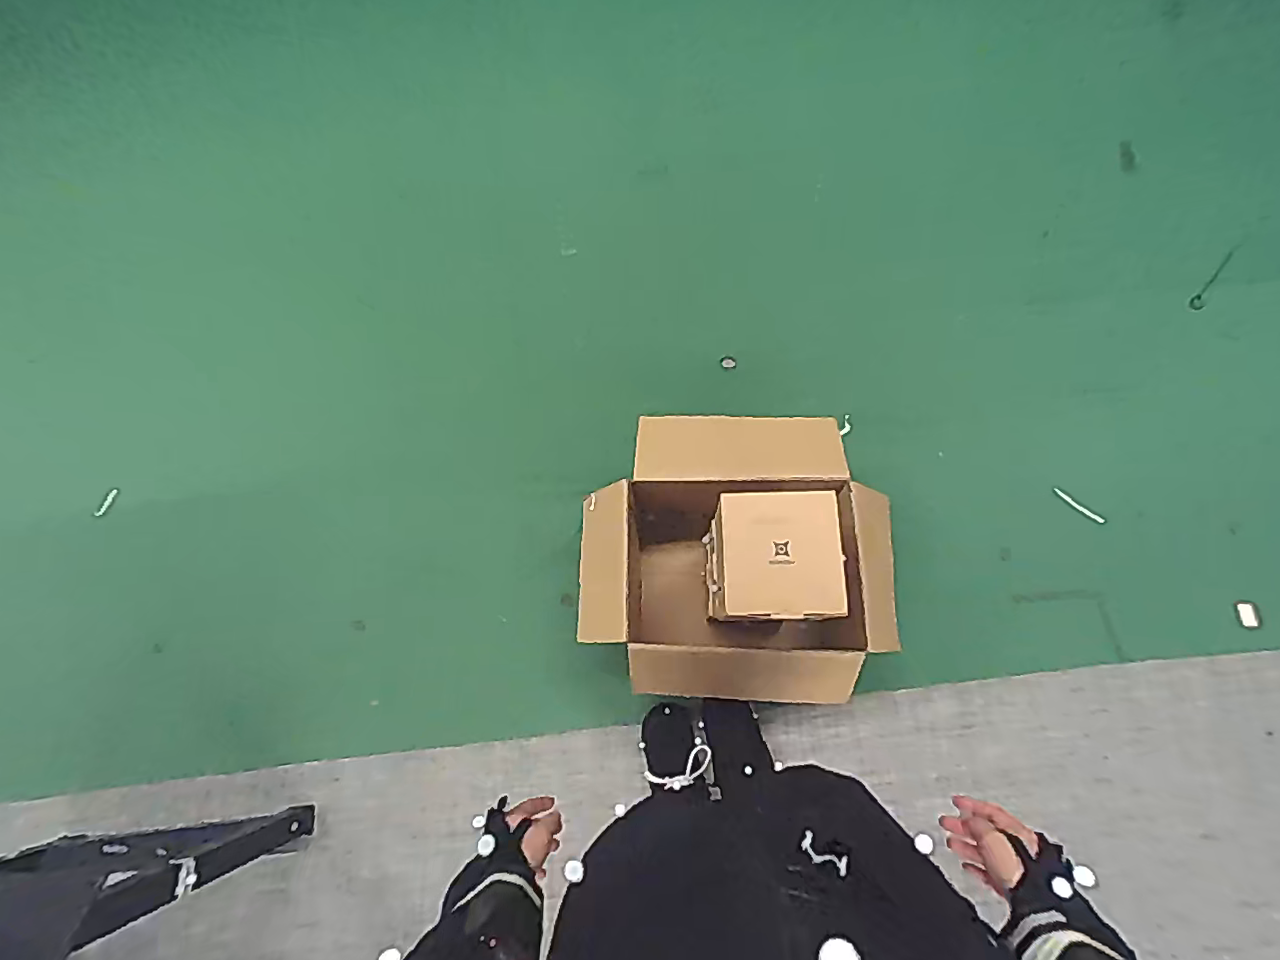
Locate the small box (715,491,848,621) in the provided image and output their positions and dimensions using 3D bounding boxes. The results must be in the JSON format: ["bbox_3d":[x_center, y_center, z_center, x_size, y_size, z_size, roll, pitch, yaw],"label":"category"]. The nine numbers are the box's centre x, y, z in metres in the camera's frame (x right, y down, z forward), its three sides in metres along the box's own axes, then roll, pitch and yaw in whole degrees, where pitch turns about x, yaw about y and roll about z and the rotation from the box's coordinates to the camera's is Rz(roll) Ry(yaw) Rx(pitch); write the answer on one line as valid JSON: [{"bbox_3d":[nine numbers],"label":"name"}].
[{"bbox_3d":[0.204,0.123,0.826,0.168,0.176,0.179,-2,72,4],"label":"small box"}]
